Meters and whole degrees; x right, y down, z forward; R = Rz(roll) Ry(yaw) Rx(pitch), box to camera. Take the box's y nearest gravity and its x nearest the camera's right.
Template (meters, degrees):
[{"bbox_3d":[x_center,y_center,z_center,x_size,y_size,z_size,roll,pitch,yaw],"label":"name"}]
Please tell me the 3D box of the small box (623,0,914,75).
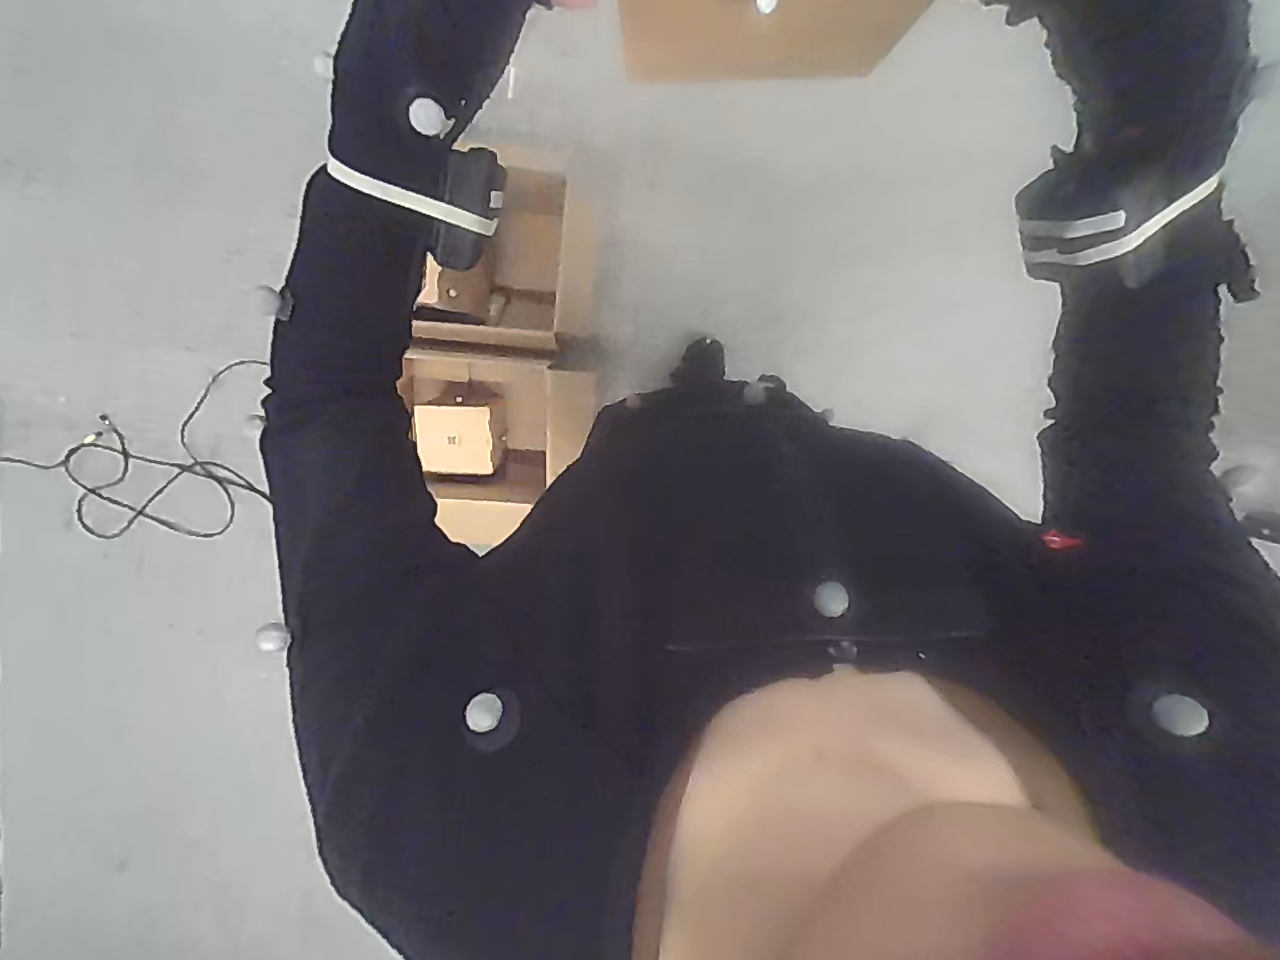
[{"bbox_3d":[0.076,-0.345,0.289,0.179,0.176,0.168,0,107,1],"label":"small box"}]
